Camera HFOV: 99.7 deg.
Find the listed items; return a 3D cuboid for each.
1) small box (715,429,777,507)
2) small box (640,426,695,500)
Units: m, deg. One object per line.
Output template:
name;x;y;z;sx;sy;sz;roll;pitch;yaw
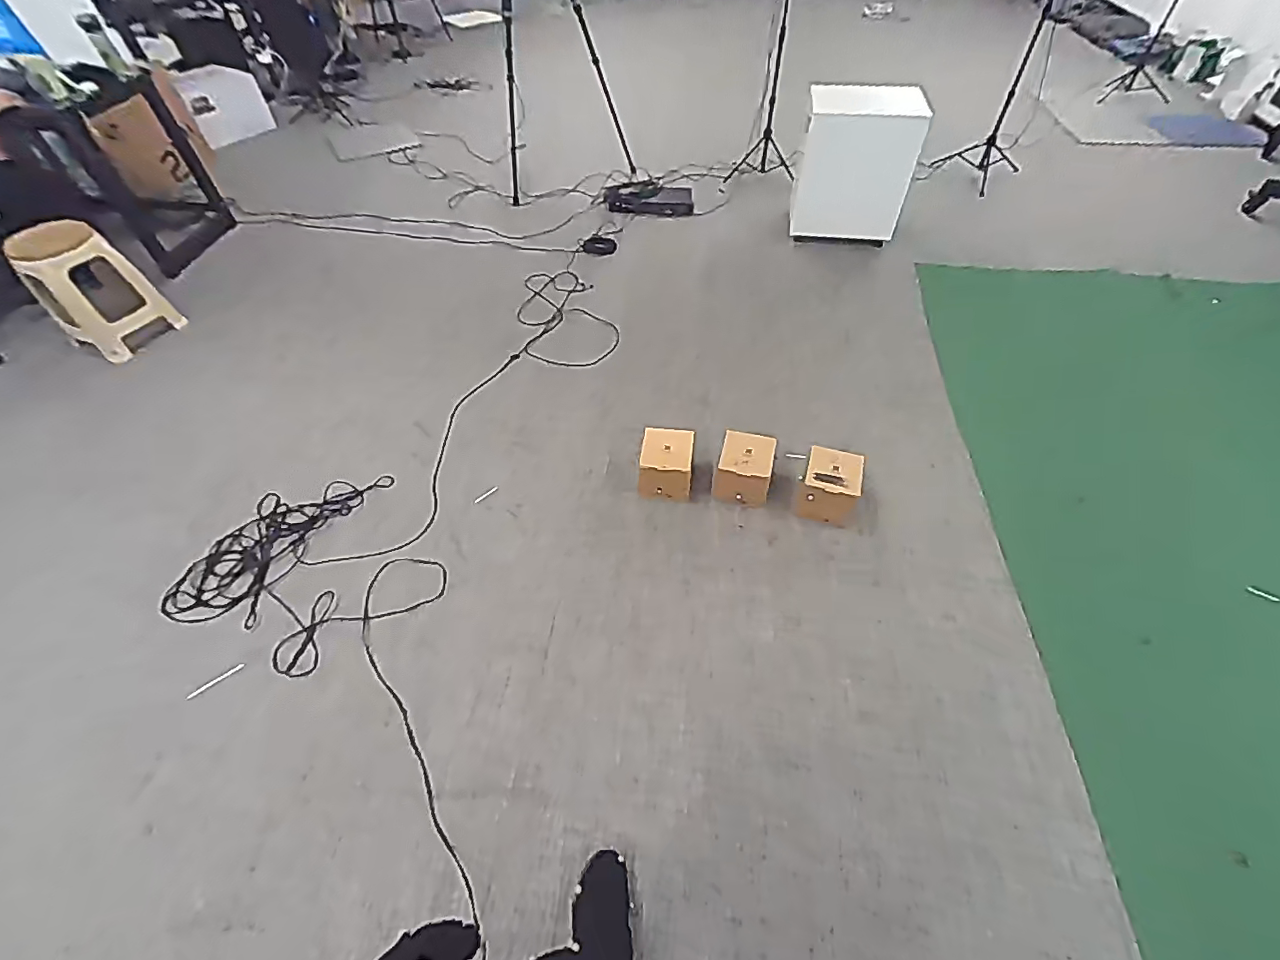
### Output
small box;0.348;-0.040;1.790;0.168;0.176;0.179;11;53;11
small box;0.092;-0.057;1.814;0.168;0.176;0.179;6;52;6
